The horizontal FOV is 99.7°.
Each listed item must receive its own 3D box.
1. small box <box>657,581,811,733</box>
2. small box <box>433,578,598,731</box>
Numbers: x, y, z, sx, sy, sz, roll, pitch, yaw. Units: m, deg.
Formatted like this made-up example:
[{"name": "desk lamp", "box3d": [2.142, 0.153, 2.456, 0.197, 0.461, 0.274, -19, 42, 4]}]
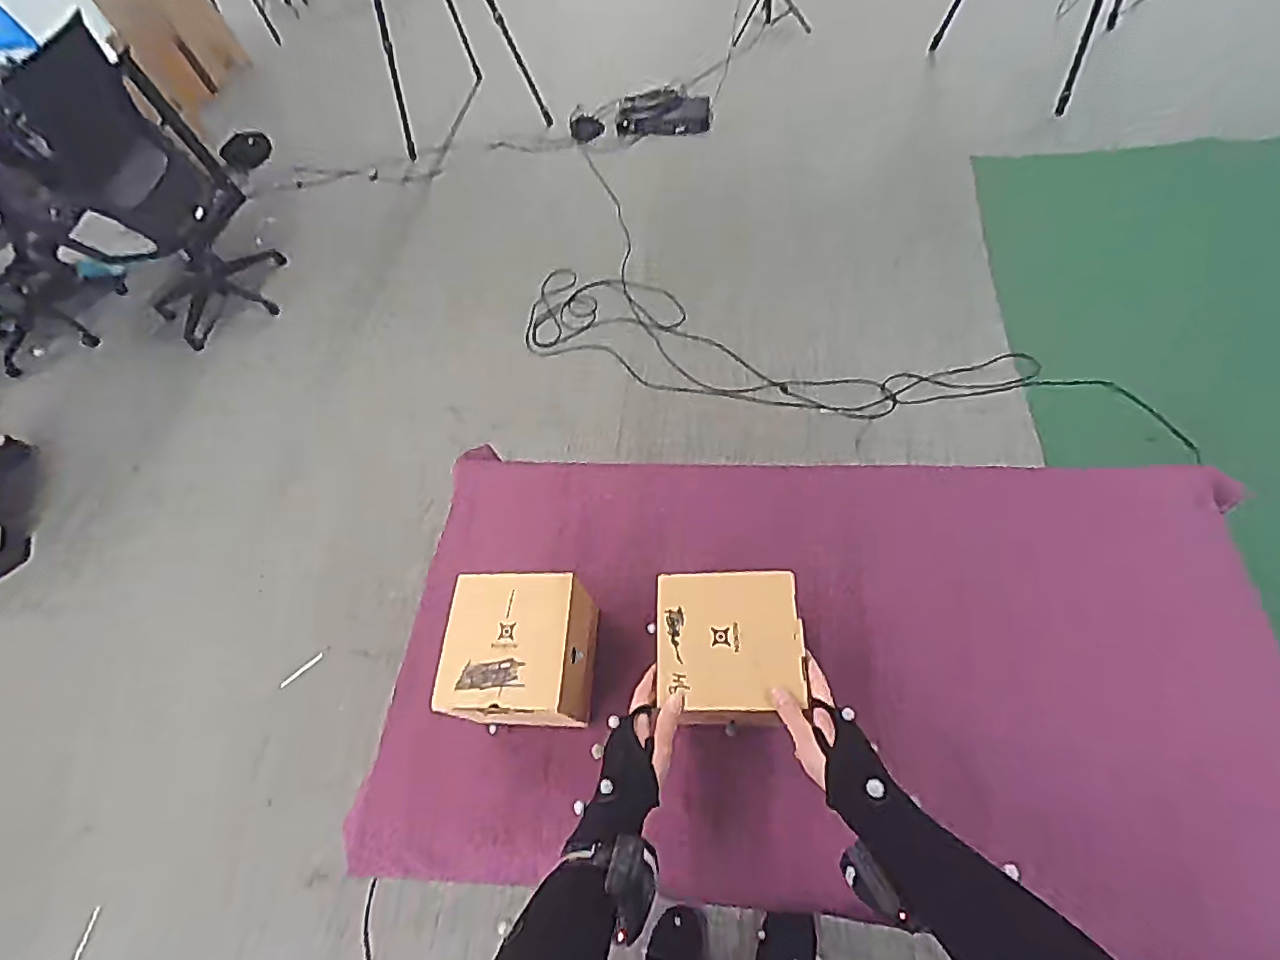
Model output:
[{"name": "small box", "box3d": [0.120, 0.239, 0.722, 0.179, 0.176, 0.168, -2, 60, 8]}, {"name": "small box", "box3d": [-0.160, 0.250, 0.762, 0.168, 0.176, 0.179, -2, 59, 8]}]
